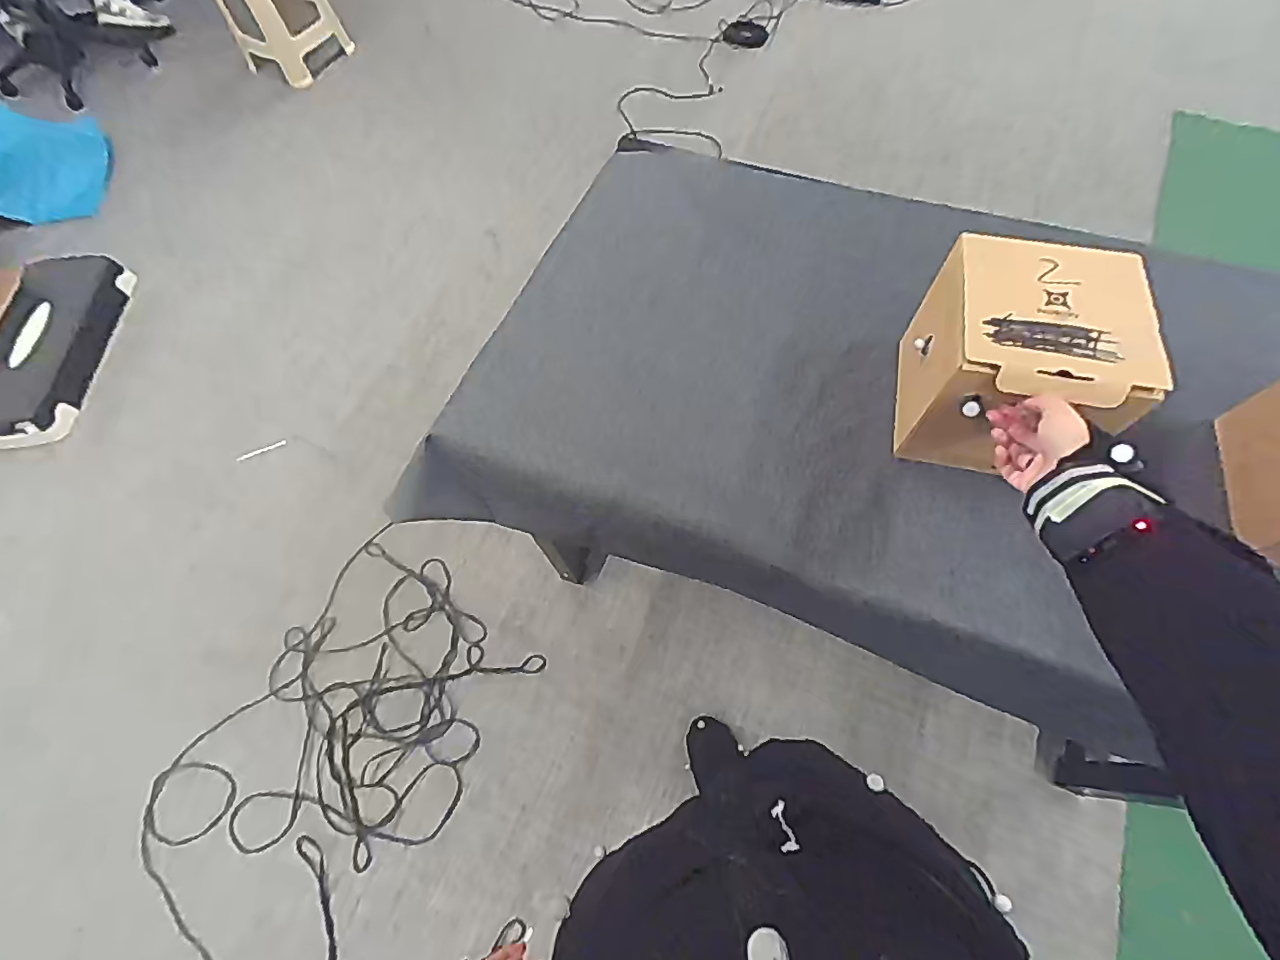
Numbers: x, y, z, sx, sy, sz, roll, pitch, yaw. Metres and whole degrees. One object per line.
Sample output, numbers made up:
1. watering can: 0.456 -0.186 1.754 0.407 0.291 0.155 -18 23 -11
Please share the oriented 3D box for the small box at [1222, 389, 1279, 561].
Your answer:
1. small box: 0.710 -0.007 0.497 0.168 0.176 0.179 14 64 9
